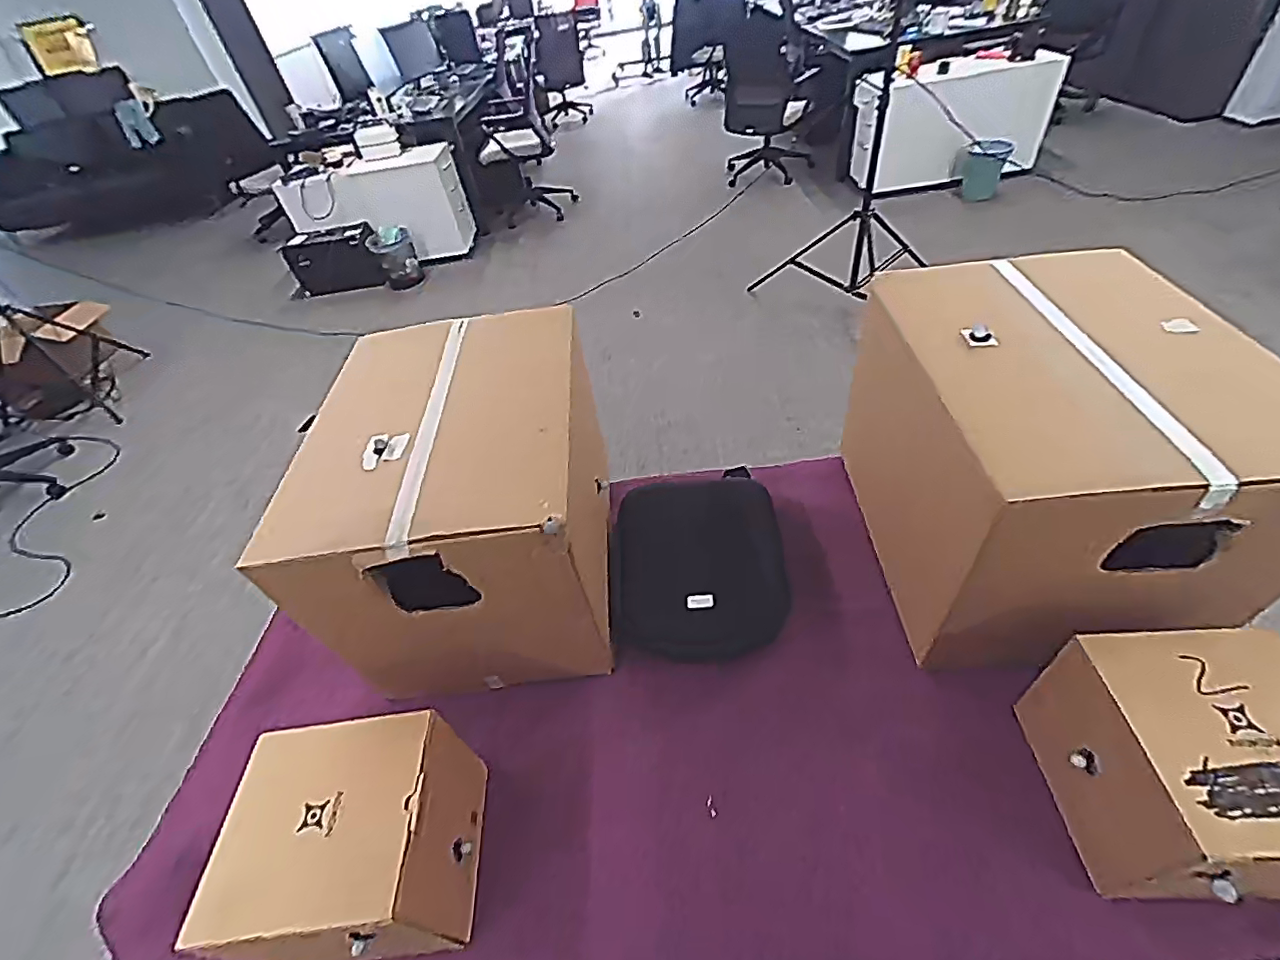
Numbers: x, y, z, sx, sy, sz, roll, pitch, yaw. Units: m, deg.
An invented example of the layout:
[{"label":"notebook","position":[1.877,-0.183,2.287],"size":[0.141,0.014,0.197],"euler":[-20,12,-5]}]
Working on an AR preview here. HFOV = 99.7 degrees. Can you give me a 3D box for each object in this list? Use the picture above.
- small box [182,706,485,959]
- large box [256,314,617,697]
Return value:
[{"label":"small box","position":[-0.271,0.350,0.532],"size":[0.179,0.176,0.168],"euler":[-9,44,0]},{"label":"large box","position":[-0.213,0.028,0.743],"size":[0.320,0.320,0.408],"euler":[-9,47,2]}]
